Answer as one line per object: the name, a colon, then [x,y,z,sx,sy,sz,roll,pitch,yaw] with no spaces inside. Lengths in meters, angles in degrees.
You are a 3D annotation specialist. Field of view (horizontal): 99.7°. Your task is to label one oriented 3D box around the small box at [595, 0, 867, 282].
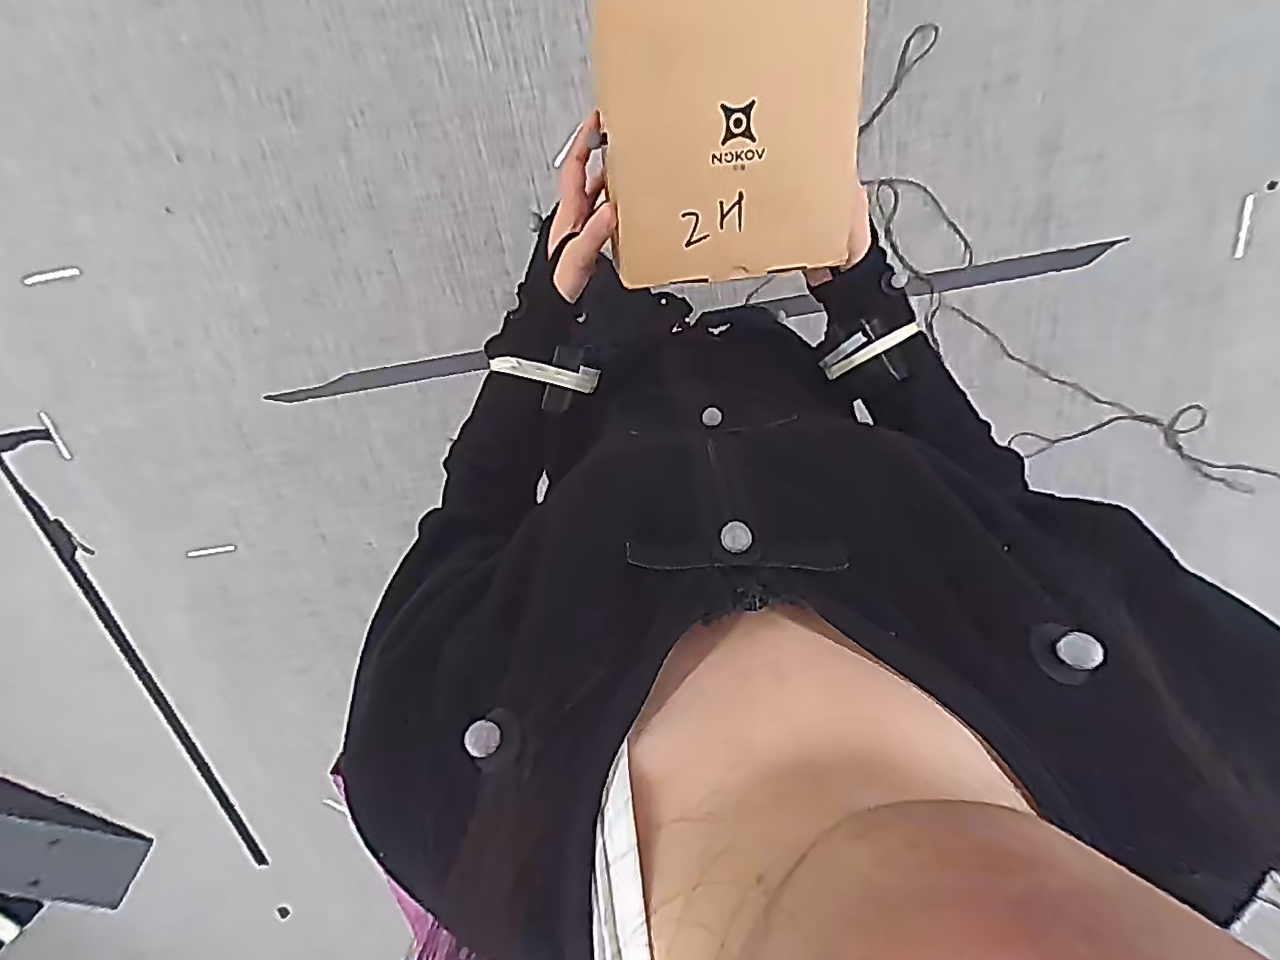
small box: [0.056,-0.264,0.427,0.168,0.176,0.179,-7,117,-2]
